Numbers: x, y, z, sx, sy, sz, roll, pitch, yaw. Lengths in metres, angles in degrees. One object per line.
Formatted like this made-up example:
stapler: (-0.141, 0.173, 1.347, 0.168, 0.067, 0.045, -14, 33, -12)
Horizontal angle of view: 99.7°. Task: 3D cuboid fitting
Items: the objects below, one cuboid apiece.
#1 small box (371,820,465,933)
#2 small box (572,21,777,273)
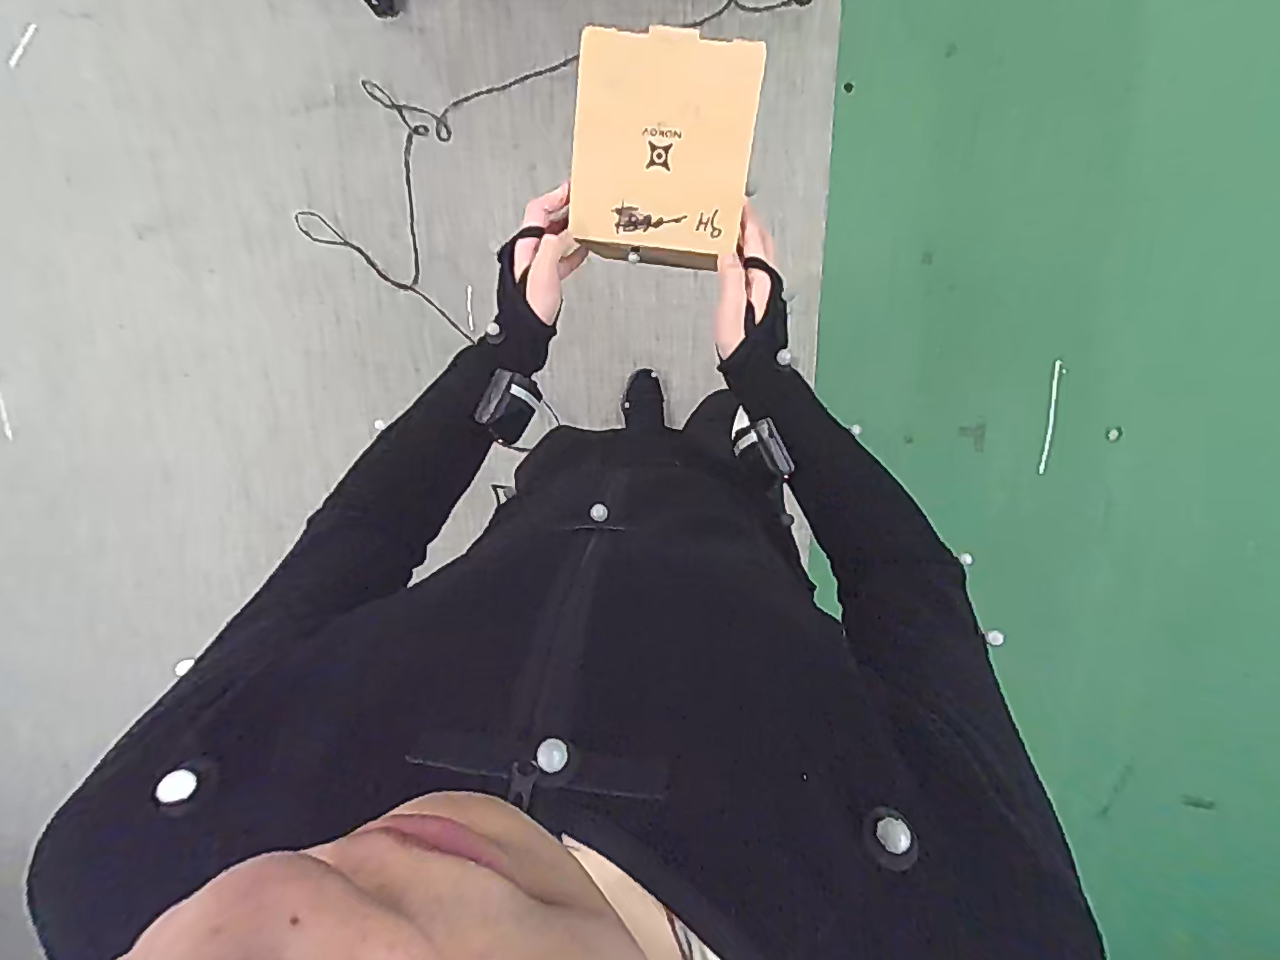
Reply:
small box: (-0.546, 0.988, 1.330, 0.168, 0.176, 0.179, 12, 101, 0)
small box: (0.033, -0.326, 0.565, 0.168, 0.176, 0.179, 9, 107, 3)
